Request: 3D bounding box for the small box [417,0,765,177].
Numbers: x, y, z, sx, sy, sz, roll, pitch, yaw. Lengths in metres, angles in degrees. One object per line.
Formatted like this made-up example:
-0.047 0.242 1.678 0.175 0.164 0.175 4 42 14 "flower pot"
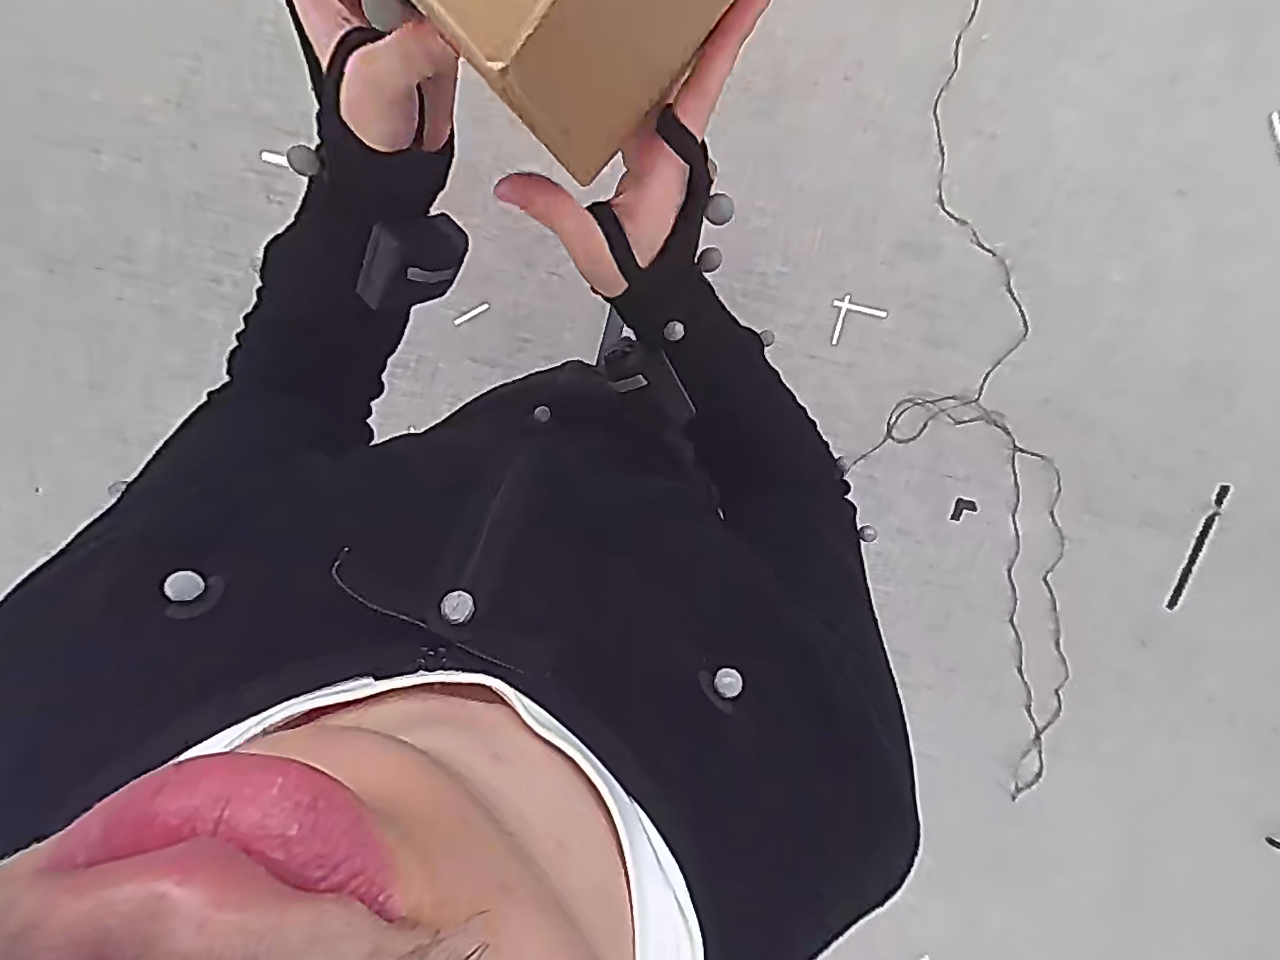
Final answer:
-0.021 -0.230 0.160 0.179 0.176 0.168 -42 104 16 "small box"
